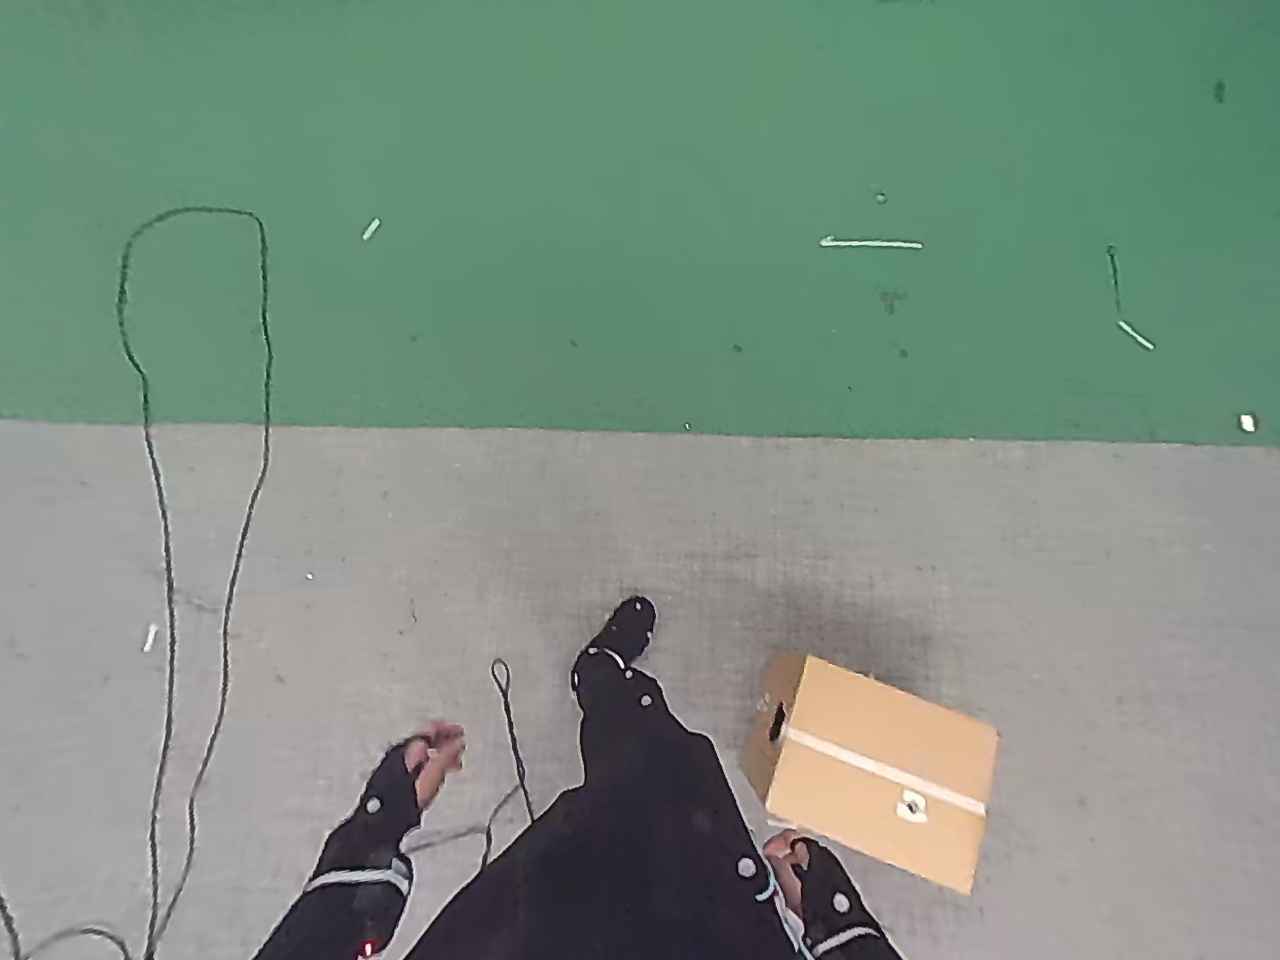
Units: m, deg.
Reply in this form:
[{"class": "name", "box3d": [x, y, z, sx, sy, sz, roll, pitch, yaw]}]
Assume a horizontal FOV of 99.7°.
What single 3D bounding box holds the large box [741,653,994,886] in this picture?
[{"class": "large box", "box3d": [0.480, 0.607, 1.216, 0.408, 0.320, 0.320, 20, 76, 6]}]
